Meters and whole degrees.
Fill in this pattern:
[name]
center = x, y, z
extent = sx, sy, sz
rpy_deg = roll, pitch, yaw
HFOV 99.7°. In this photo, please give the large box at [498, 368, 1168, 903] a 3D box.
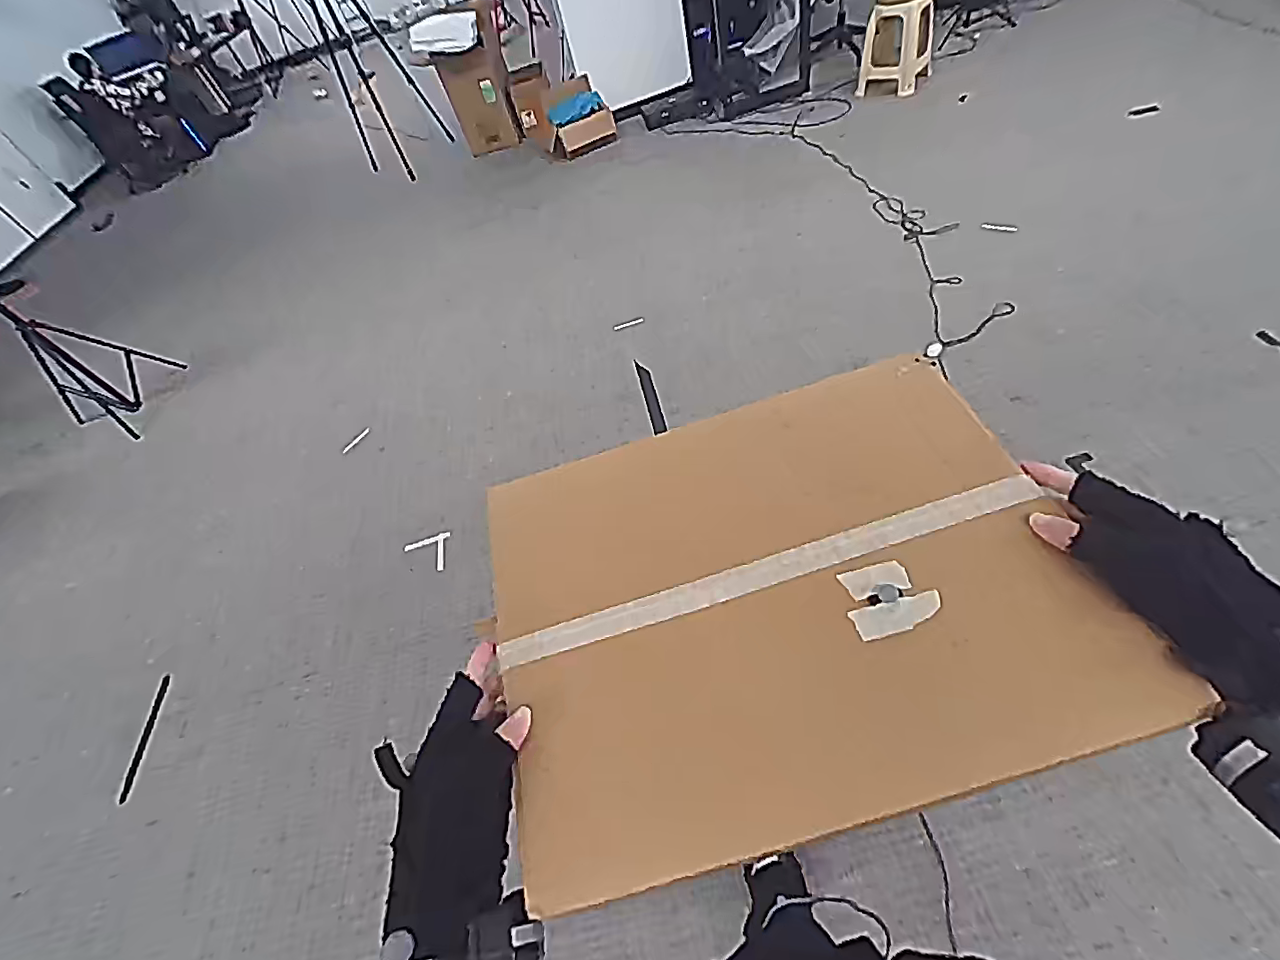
[large box]
center = 0.119, 0.158, 0.529
extent = 0.408, 0.320, 0.320
rpy_deg = -18, 54, 1
